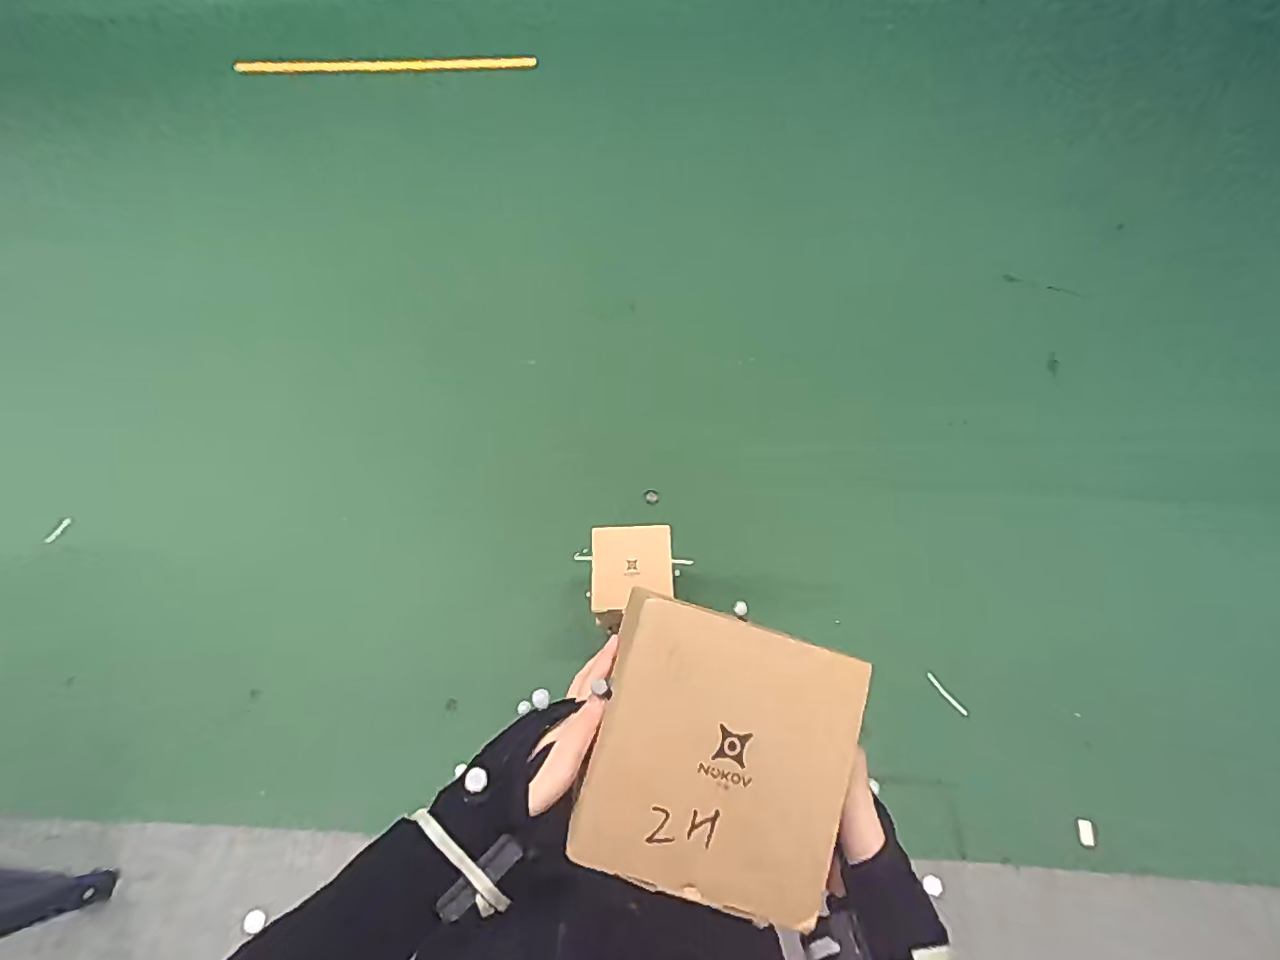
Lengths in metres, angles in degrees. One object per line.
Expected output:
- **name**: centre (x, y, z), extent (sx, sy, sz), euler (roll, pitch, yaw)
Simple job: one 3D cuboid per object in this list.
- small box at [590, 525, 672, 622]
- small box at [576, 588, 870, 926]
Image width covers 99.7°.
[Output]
- **small box**: centre (-0.018, 0.206, 1.168), extent (0.168, 0.176, 0.179), euler (-2, 69, 1)
- **small box**: centre (0.052, 0.193, 0.435), extent (0.168, 0.176, 0.179), euler (17, 79, -2)
